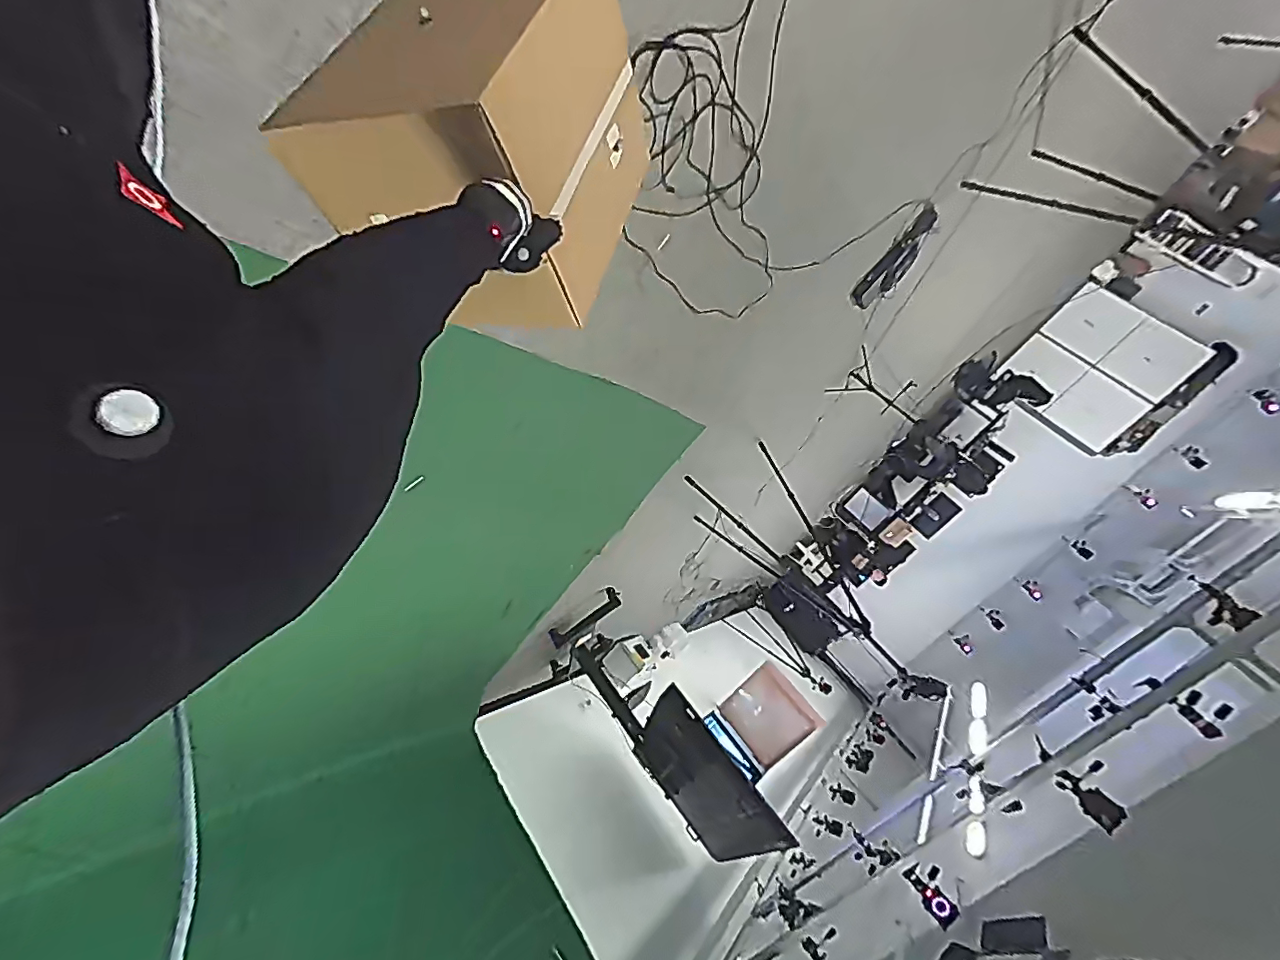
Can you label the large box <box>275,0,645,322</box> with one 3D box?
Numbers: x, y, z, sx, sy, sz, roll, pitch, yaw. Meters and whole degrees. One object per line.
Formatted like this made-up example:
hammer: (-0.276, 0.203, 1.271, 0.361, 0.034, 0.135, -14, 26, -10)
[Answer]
large box: (-0.219, -0.488, 0.799, 0.320, 0.320, 0.408, 65, 37, -58)
